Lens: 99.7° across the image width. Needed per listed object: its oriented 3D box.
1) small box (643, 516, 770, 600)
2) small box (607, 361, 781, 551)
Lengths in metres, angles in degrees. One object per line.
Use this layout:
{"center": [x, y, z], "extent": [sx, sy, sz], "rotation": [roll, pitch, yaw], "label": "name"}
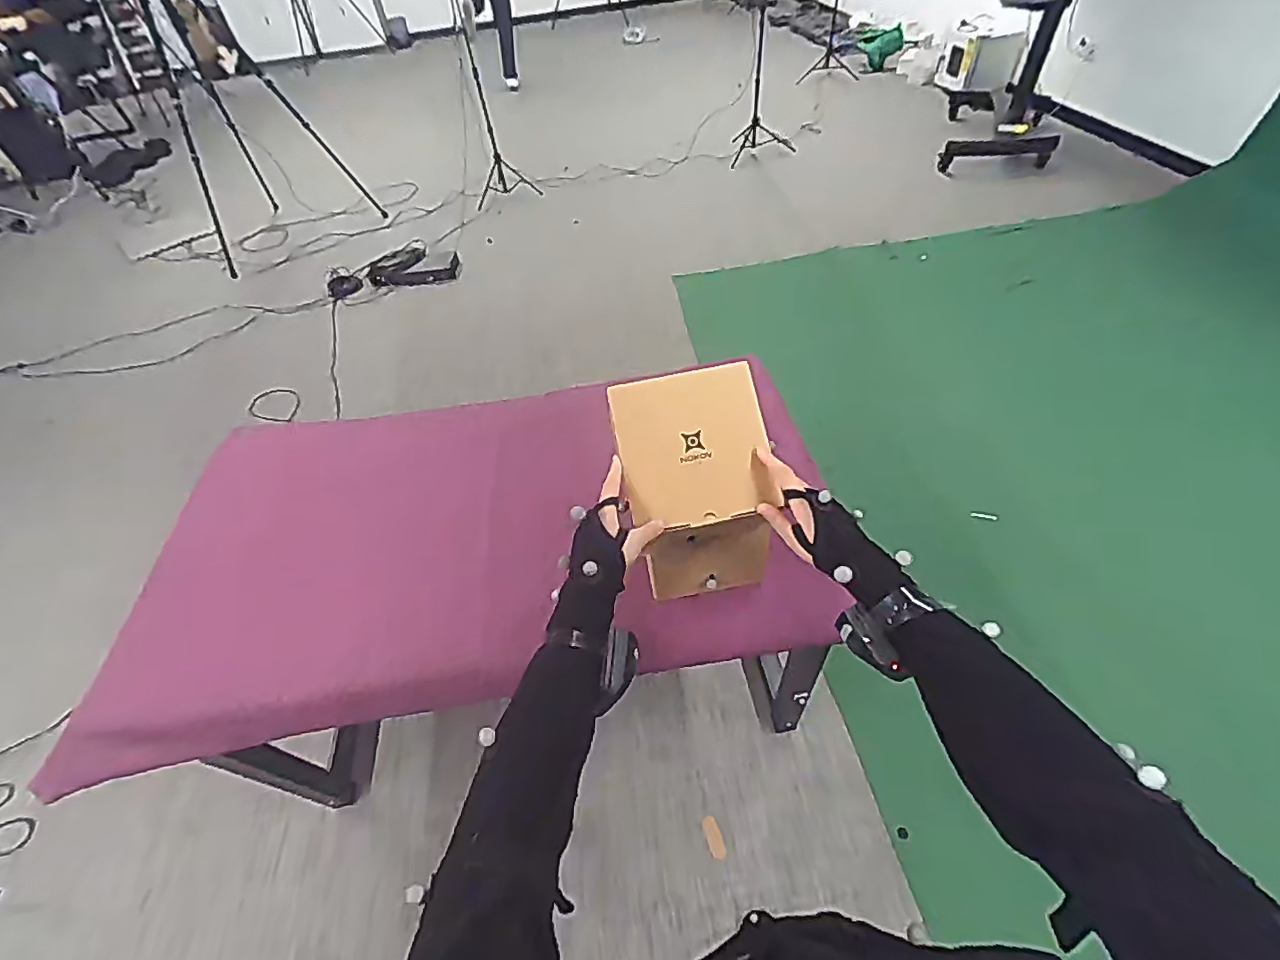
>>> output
{"center": [0.088, 0.064, 0.842], "extent": [0.179, 0.176, 0.168], "rotation": [-10, 47, -2], "label": "small box"}
{"center": [0.057, -0.020, 0.670], "extent": [0.168, 0.176, 0.179], "rotation": [-11, 76, -1], "label": "small box"}
